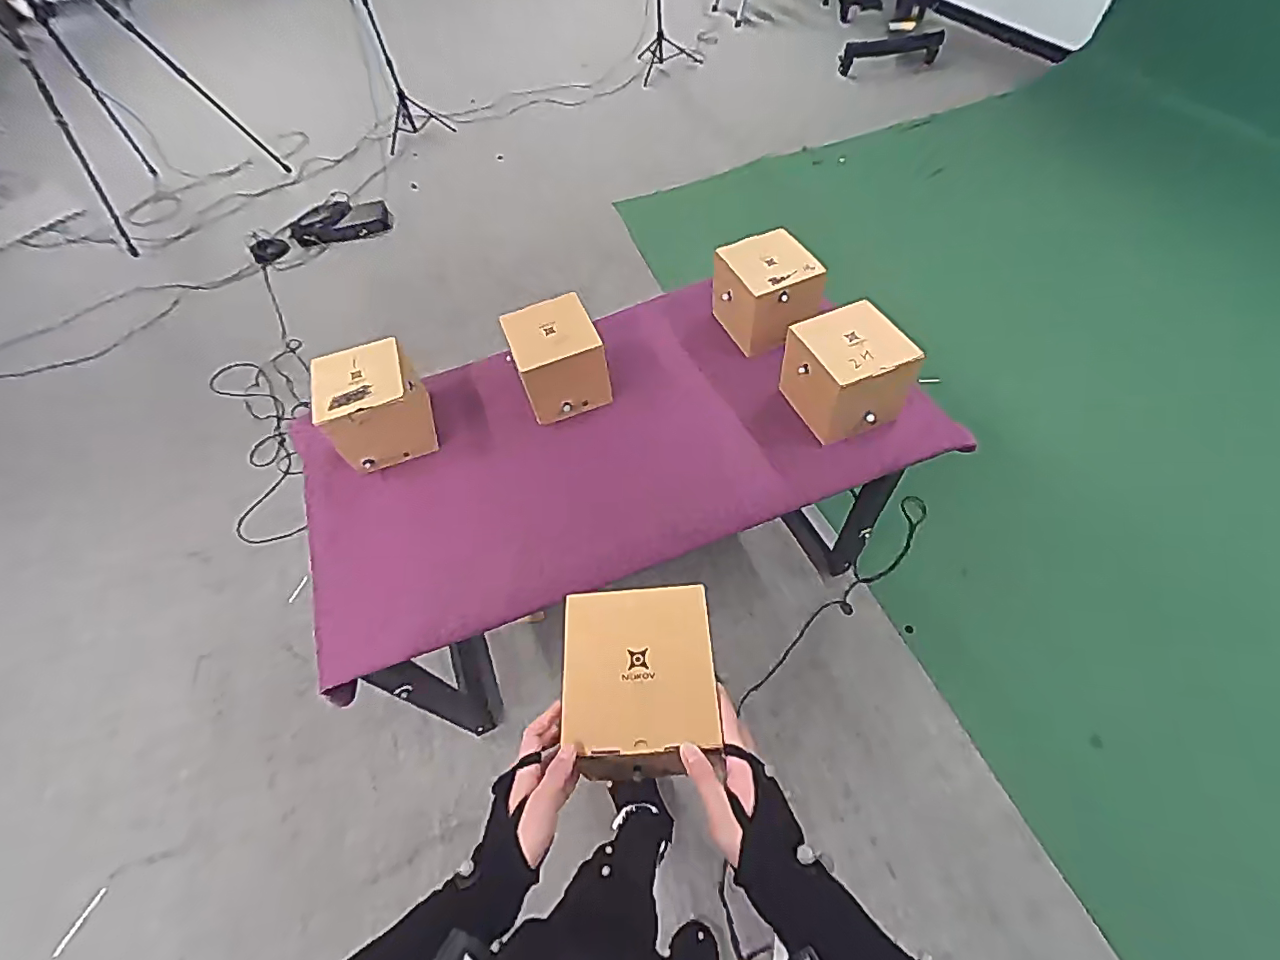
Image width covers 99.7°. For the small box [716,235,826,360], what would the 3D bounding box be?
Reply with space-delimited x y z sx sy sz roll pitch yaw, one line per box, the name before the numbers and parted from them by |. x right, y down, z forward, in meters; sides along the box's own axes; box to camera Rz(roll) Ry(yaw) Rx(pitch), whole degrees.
small box | 0.274 -0.394 1.180 0.168 0.176 0.179 -22 56 -8

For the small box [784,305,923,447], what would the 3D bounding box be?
small box | 0.390 -0.194 1.027 0.168 0.176 0.179 -21 55 -6

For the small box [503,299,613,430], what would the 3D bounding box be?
small box | -0.167 -0.235 1.119 0.168 0.176 0.179 -21 57 -8

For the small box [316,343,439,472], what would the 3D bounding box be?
small box | -0.519 -0.135 1.081 0.168 0.176 0.179 -19 57 -8

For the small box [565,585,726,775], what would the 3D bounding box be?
small box | 0.007 0.245 0.656 0.168 0.176 0.179 -5 55 2
